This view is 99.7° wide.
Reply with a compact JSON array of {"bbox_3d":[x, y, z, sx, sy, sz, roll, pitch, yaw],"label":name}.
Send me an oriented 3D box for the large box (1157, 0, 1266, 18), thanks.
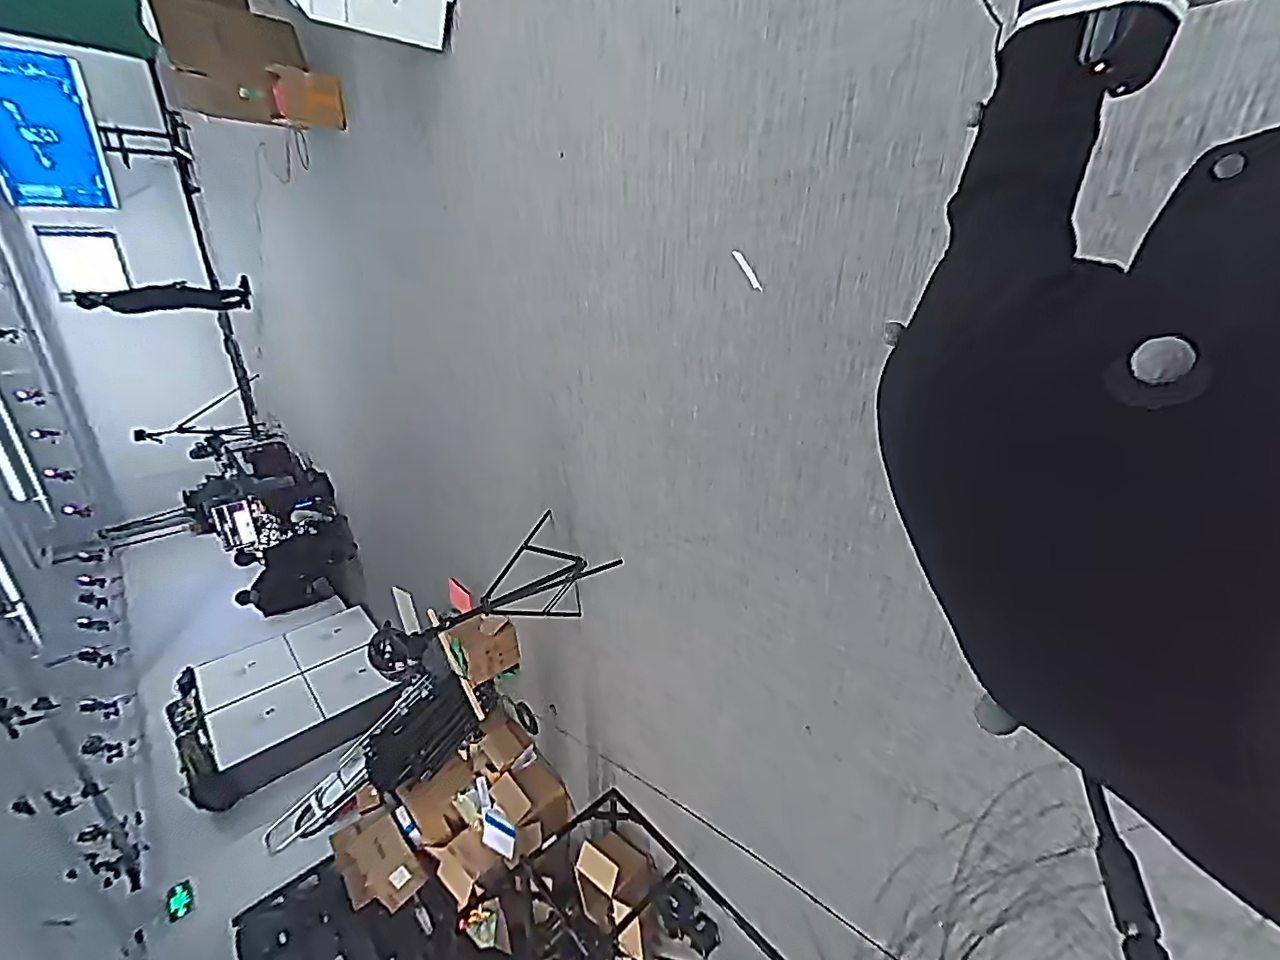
[{"bbox_3d":[0.565,-0.499,0.270,0.408,0.320,0.320,17,129,40],"label":"large box"}]
